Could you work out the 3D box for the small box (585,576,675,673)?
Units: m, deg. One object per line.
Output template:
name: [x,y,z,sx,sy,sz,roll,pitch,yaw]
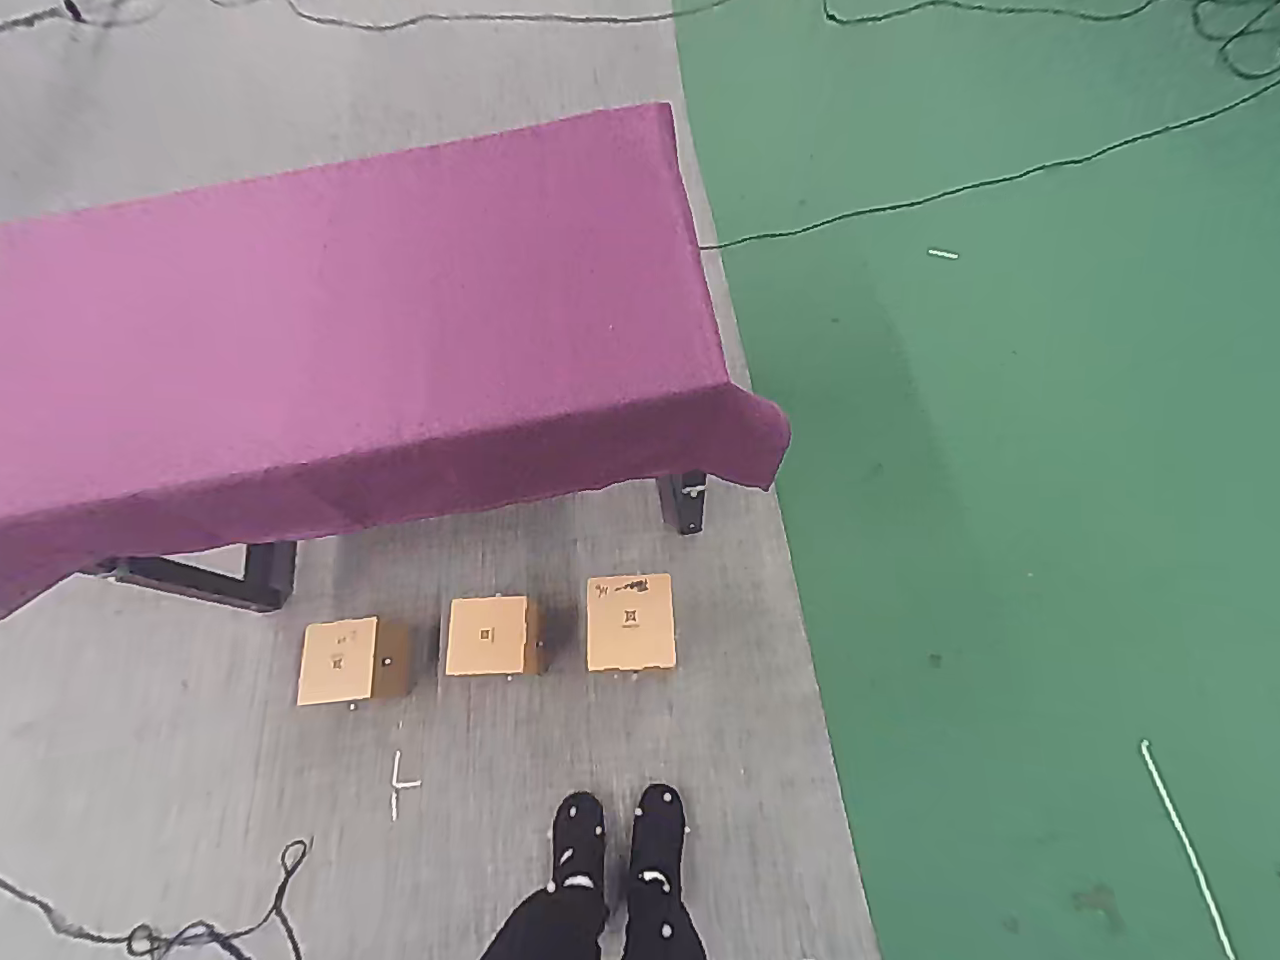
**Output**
small box: [-0.015,0.299,1.100,0.168,0.176,0.179,-3,68,3]
